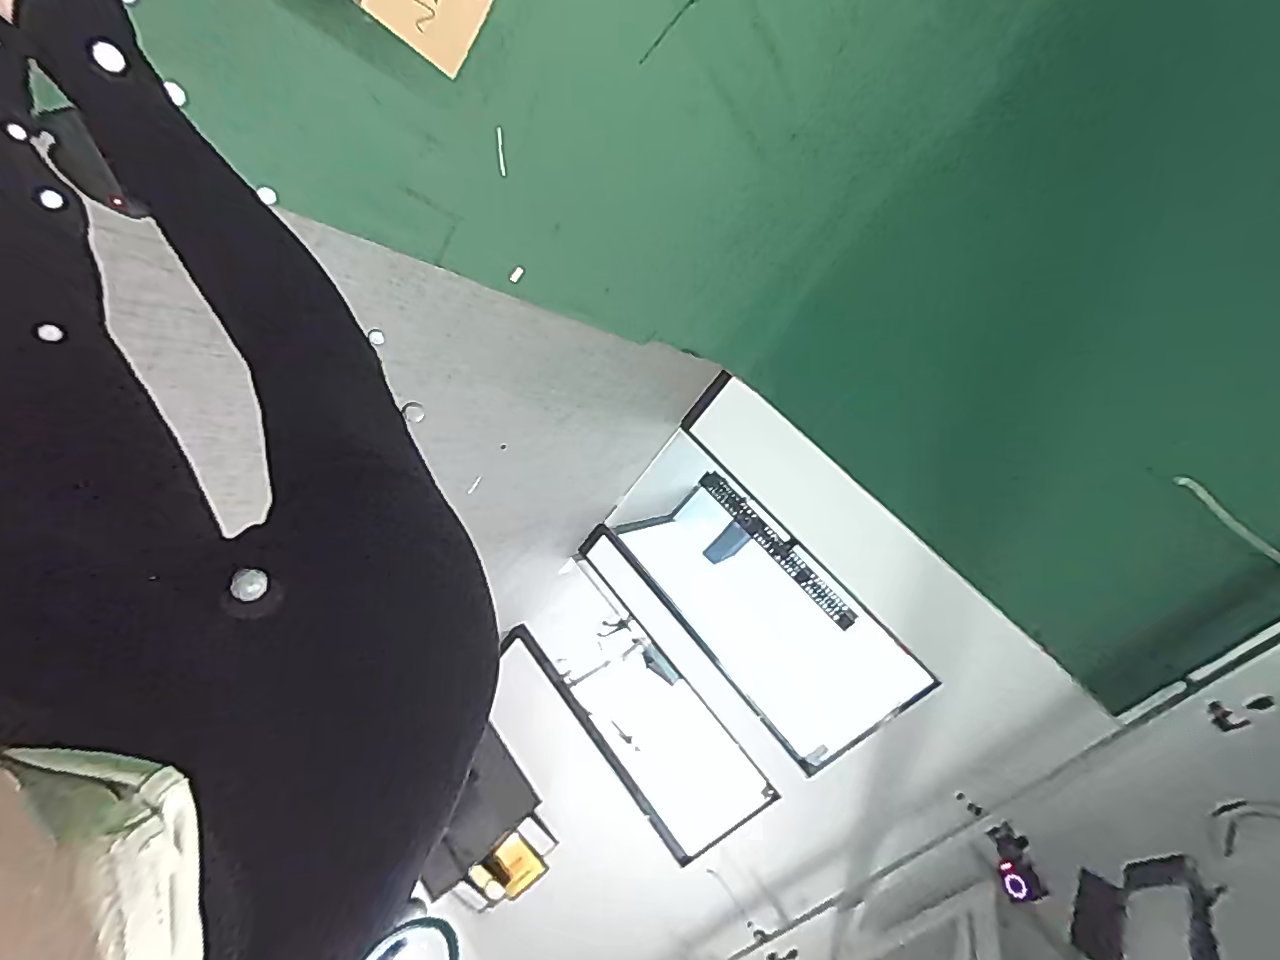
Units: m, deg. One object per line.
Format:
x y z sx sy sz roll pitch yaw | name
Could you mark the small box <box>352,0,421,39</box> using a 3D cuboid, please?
-0.449 -0.875 0.858 0.179 0.176 0.168 -50 159 20 | small box
